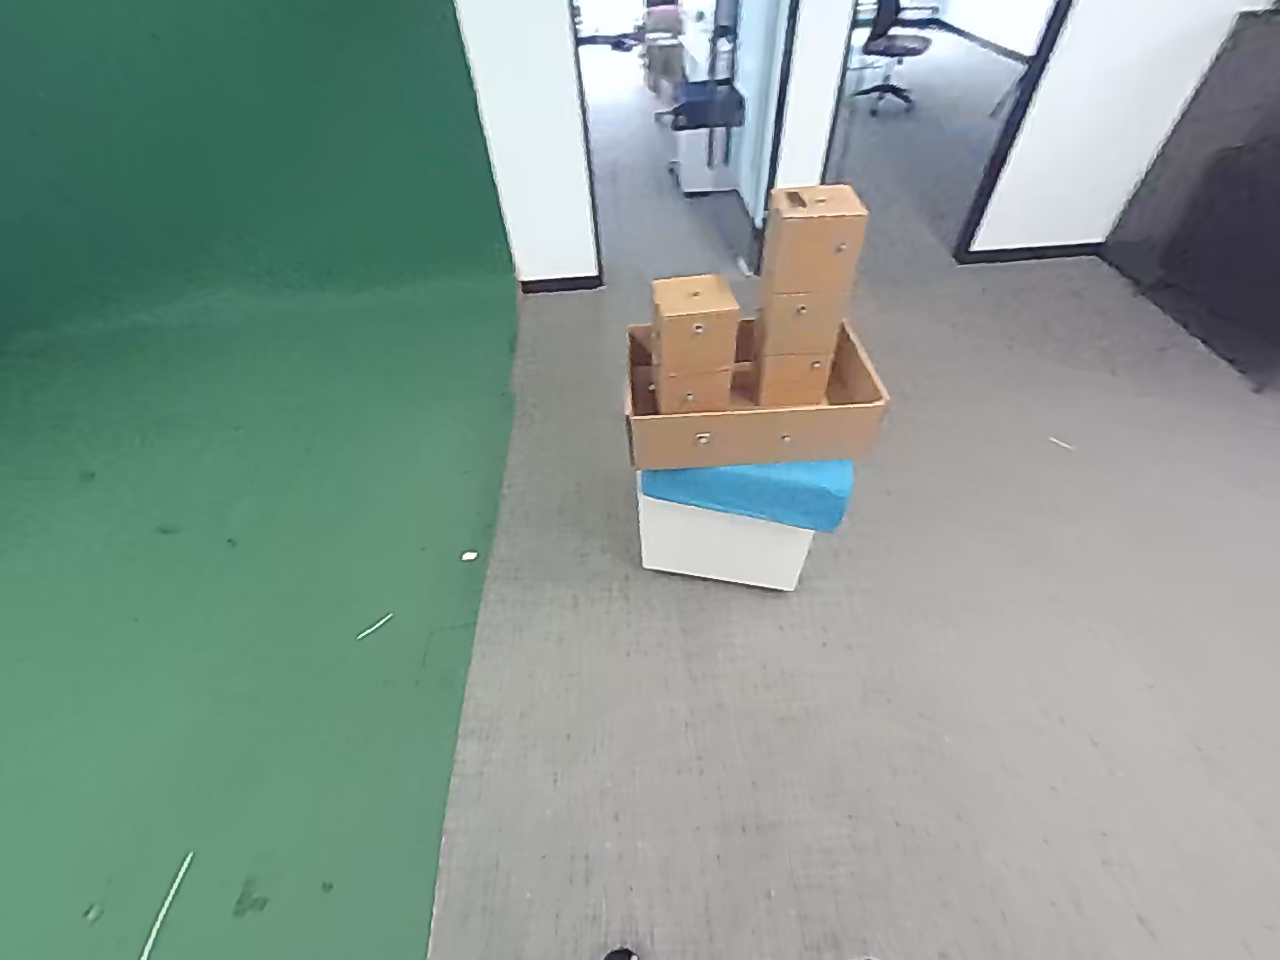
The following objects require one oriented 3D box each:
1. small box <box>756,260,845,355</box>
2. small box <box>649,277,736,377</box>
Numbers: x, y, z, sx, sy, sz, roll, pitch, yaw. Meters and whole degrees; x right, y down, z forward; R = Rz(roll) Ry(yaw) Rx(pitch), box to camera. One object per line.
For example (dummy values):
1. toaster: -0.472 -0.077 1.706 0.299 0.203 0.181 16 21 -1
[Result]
1. small box: 0.384 -0.423 1.333 0.179 0.176 0.168 -1 48 3
2. small box: 0.121 -0.362 1.292 0.179 0.176 0.168 -6 47 -4
